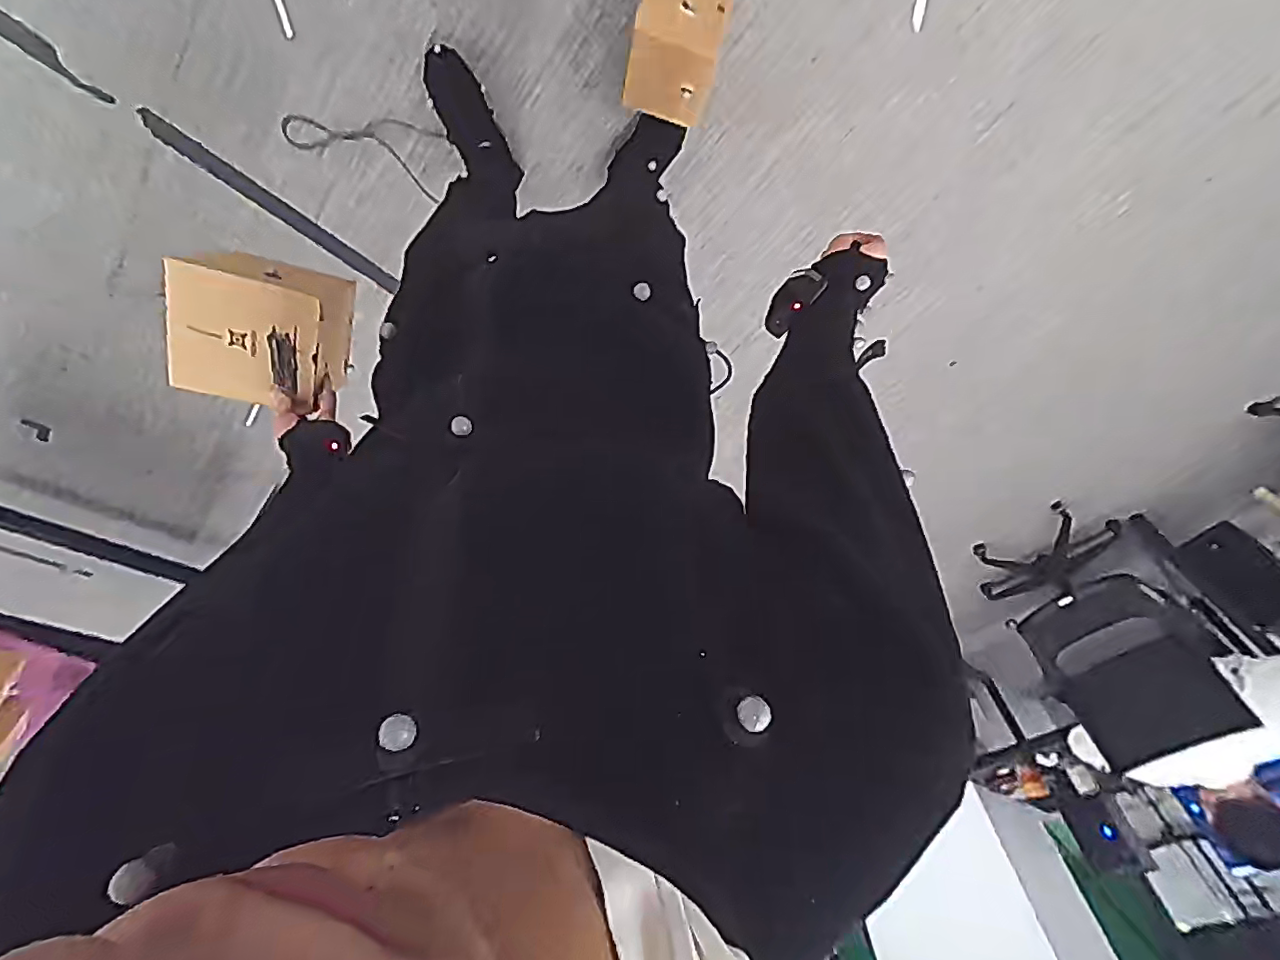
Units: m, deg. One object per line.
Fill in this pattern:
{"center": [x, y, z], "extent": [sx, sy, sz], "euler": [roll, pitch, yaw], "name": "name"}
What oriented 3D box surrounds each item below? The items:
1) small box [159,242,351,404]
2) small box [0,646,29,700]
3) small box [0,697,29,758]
{"center": [-0.526, -0.227, 0.762], "extent": [0.179, 0.176, 0.168], "euler": [11, 112, -17], "name": "small box"}
{"center": [-1.507, 0.450, 1.167], "extent": [0.179, 0.176, 0.168], "euler": [33, 122, -30], "name": "small box"}
{"center": [-1.669, 0.637, 1.326], "extent": [0.168, 0.176, 0.179], "euler": [29, 123, -29], "name": "small box"}
